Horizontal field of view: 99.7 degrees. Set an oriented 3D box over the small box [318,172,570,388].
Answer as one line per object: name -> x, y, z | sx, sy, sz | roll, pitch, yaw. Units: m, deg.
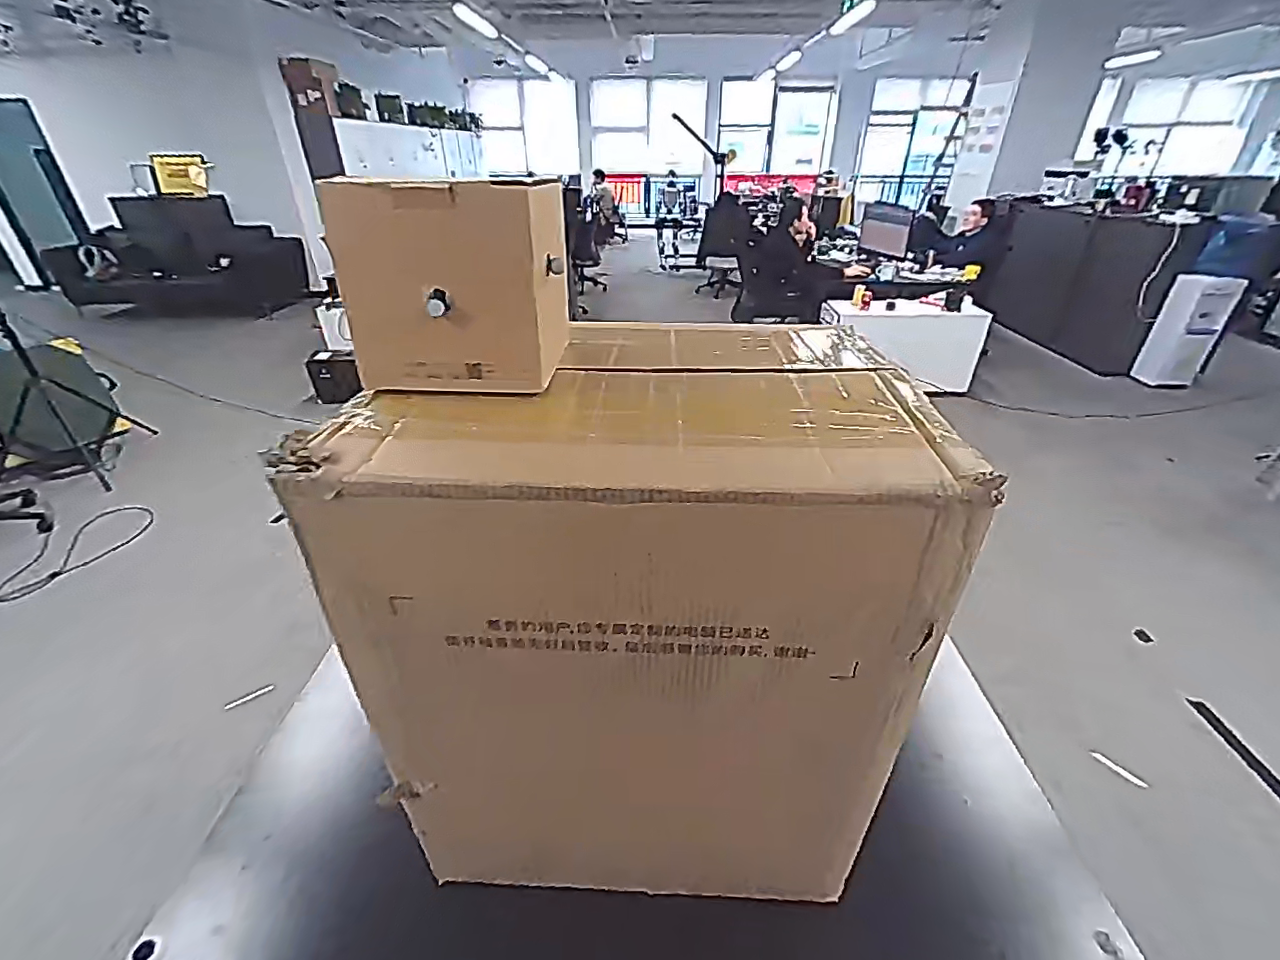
small box -> -0.160, -0.193, 0.515 | 0.168, 0.176, 0.179 | 1, 30, 0
